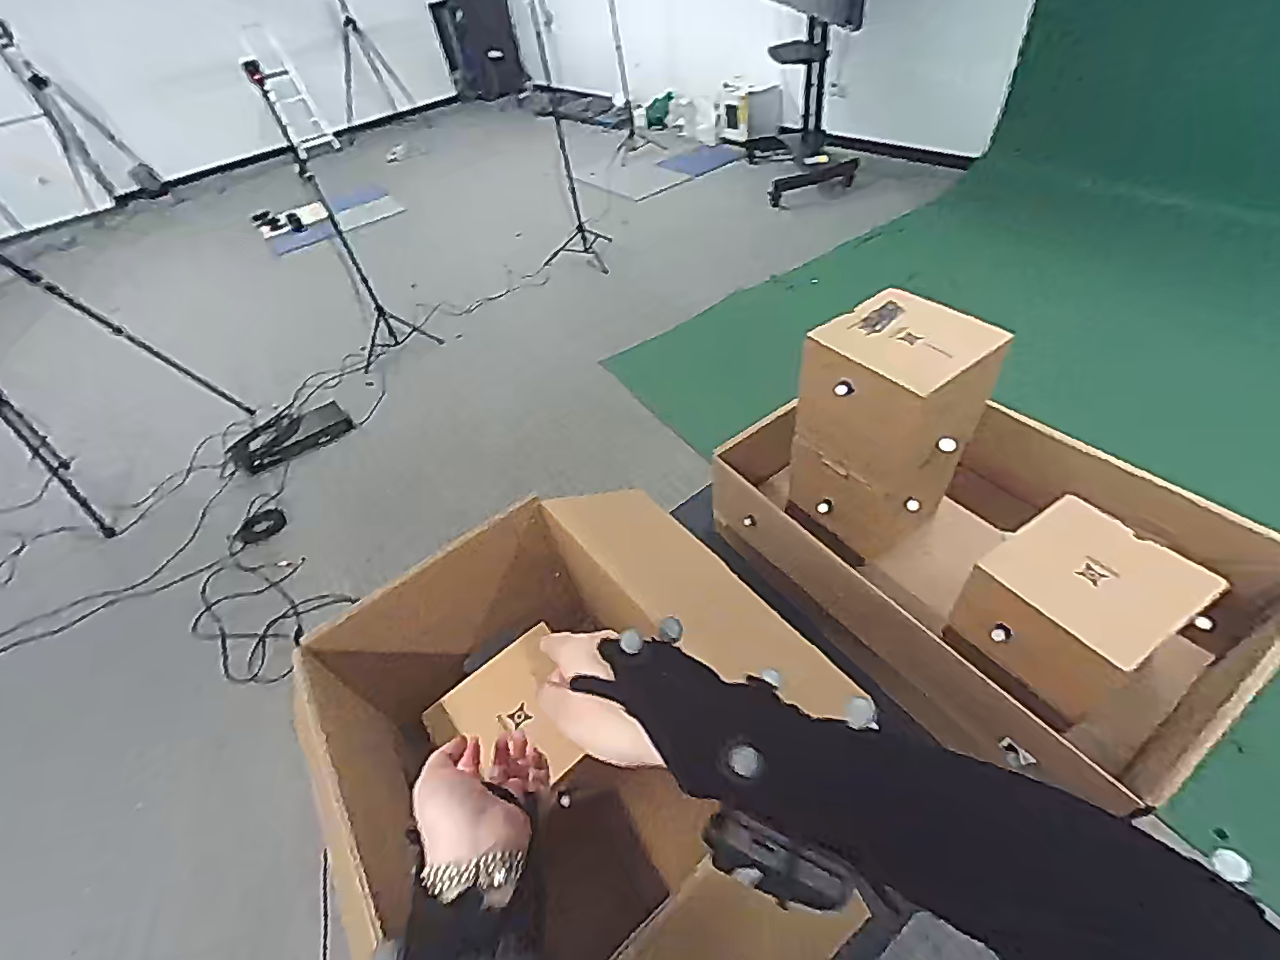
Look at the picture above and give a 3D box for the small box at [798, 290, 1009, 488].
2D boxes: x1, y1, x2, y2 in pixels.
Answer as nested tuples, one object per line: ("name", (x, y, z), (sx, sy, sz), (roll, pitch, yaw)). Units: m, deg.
("small box", (0.334, -0.121, 0.724), (0.168, 0.176, 0.179), (-31, 51, -17))
